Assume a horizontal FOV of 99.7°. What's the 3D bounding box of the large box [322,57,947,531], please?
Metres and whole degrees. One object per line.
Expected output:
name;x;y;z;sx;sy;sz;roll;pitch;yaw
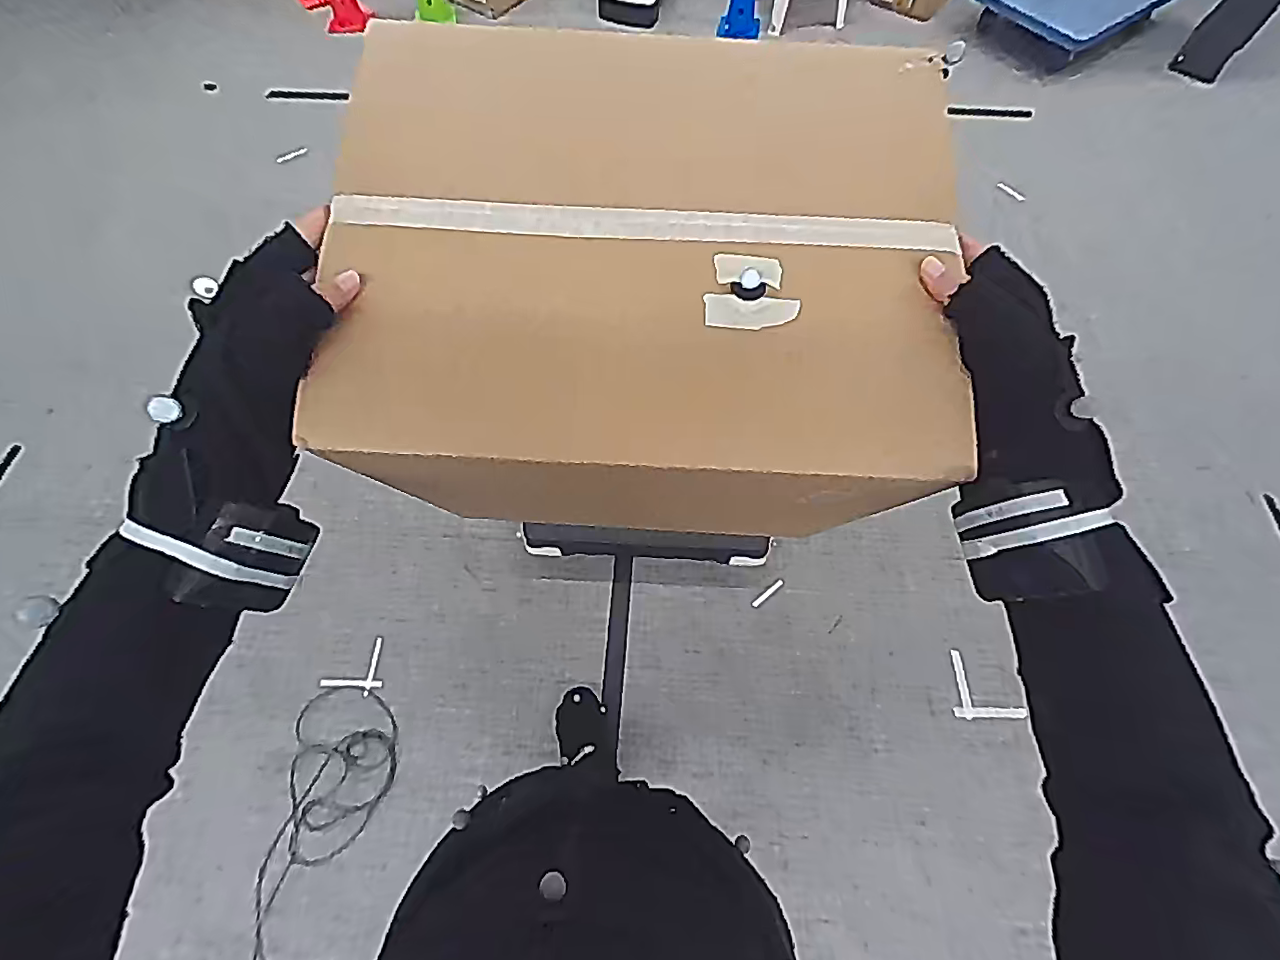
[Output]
large box;-0.001;-0.129;0.517;0.408;0.320;0.320;3;78;0
